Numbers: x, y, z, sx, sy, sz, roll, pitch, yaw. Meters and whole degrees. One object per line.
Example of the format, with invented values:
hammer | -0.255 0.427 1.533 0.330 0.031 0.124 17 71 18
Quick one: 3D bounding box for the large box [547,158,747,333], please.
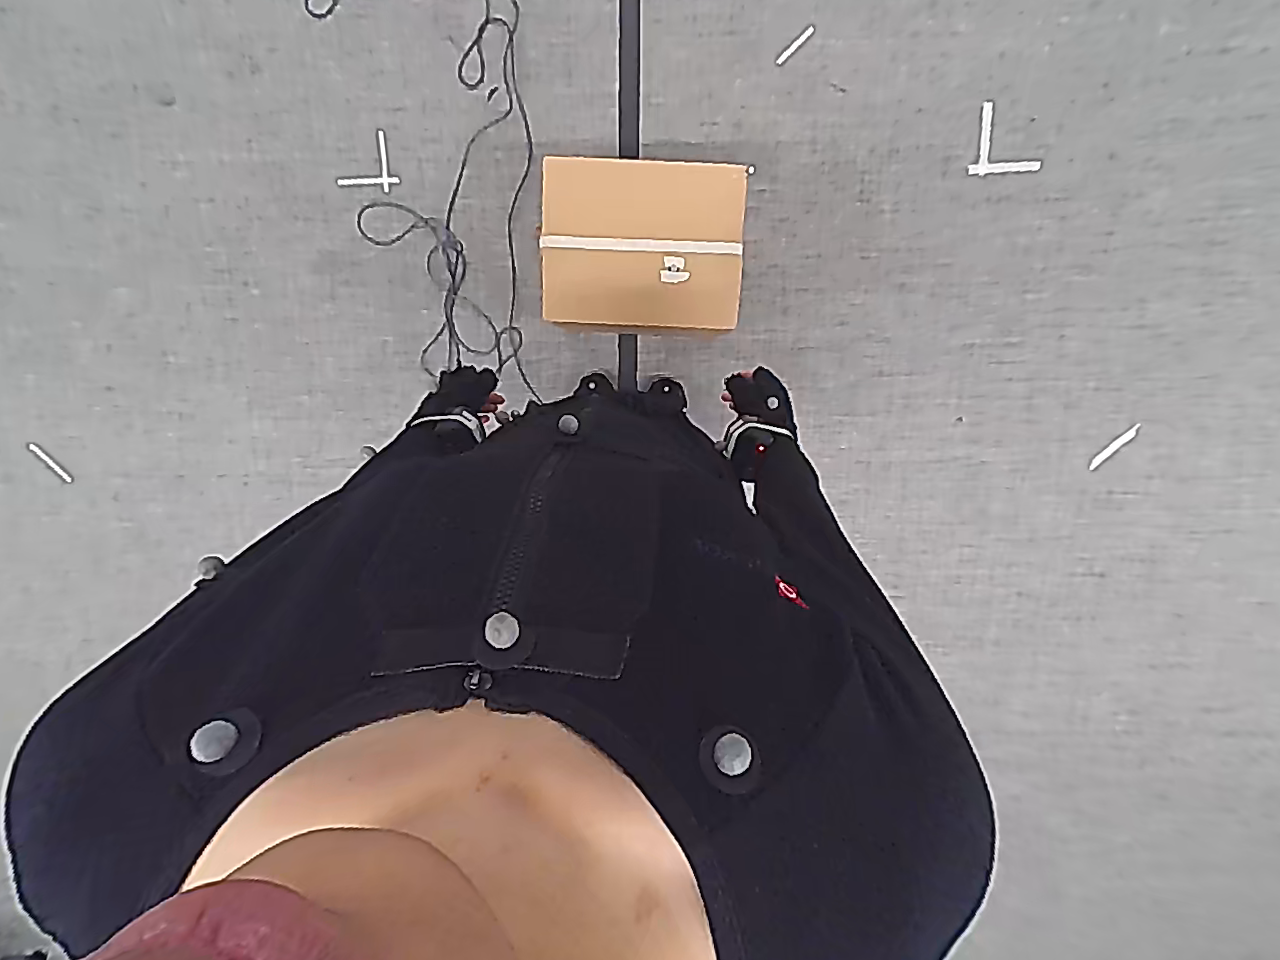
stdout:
large box | 0.009 -0.510 1.244 0.408 0.320 0.320 2 103 -1
